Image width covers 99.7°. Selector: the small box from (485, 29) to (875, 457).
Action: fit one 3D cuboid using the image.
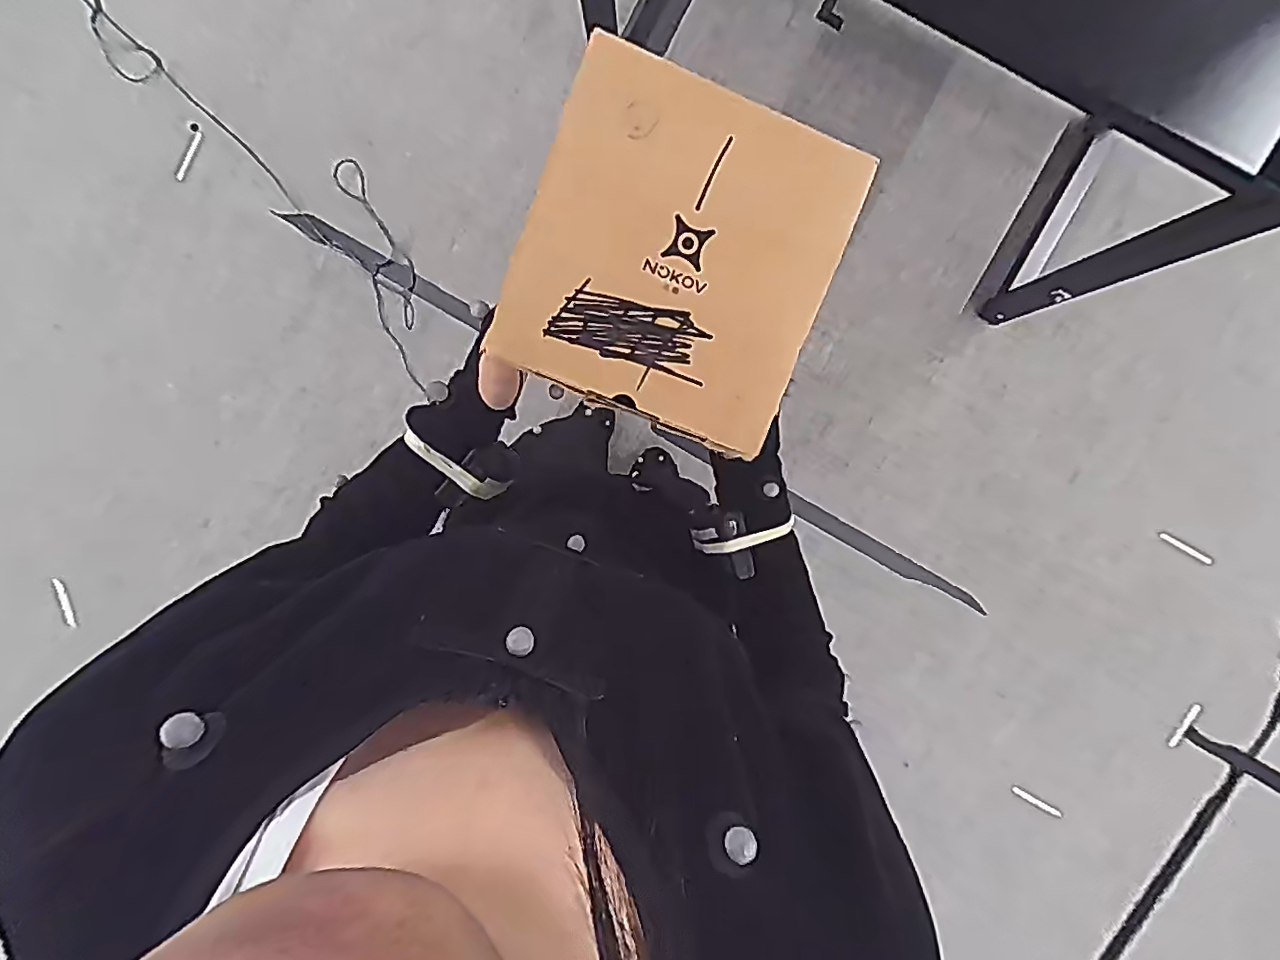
[{"bbox_3d":[0.017,-0.132,0.370,0.168,0.176,0.179,21,97,-6],"label":"small box"}]
